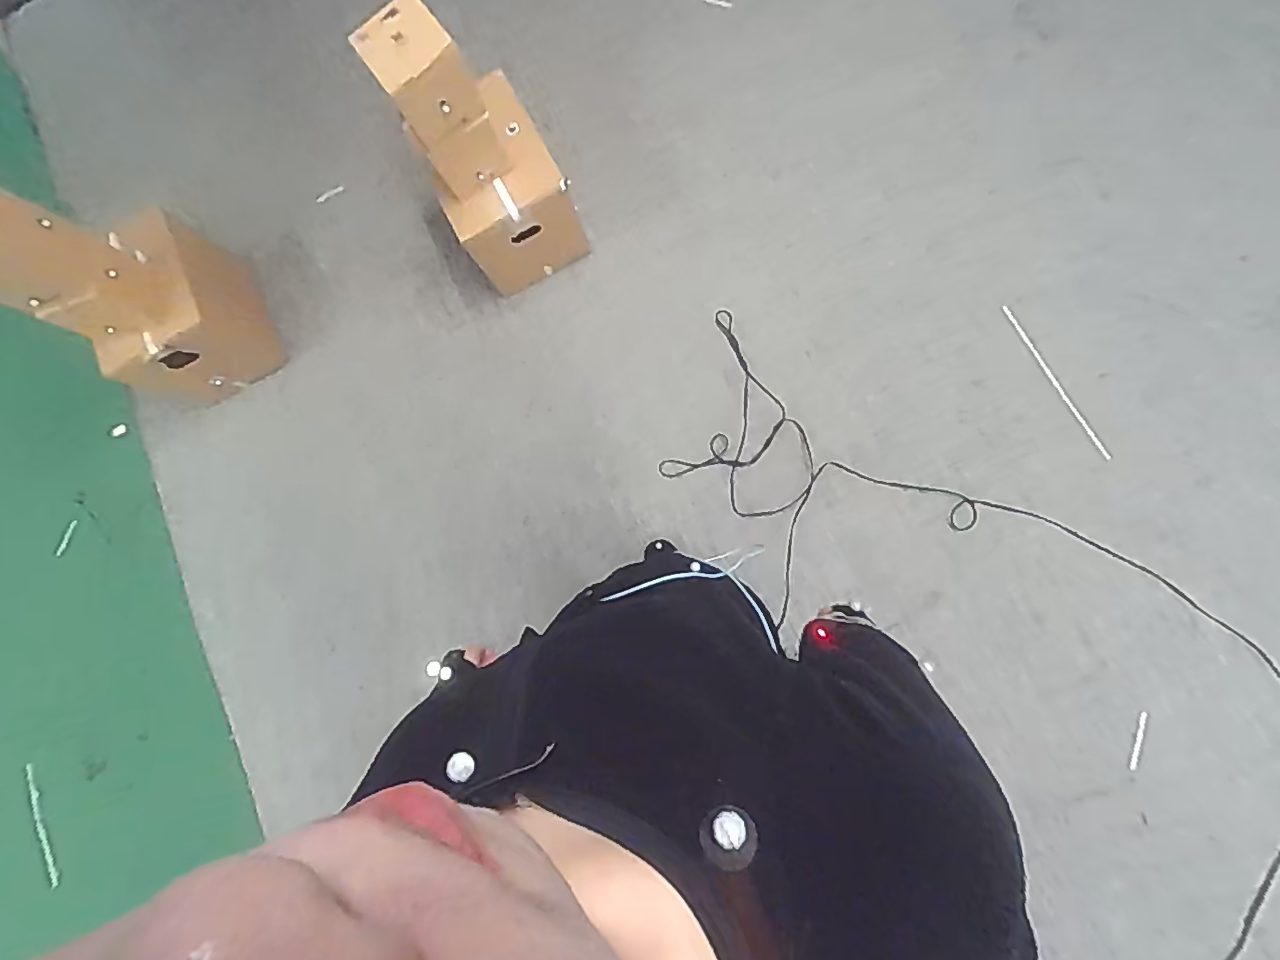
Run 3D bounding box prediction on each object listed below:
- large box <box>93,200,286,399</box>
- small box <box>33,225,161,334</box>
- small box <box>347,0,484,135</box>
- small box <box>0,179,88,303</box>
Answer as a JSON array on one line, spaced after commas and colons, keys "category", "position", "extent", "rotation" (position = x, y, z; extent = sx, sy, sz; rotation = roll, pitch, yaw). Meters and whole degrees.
[{"category": "large box", "position": [-1.360, -0.517, 1.616], "extent": [0.320, 0.320, 0.408], "rotation": [-28, 79, 3]}, {"category": "small box", "position": [-1.372, -0.500, 1.369], "extent": [0.168, 0.176, 0.179], "rotation": [-17, 81, 5]}, {"category": "small box", "position": [-0.461, -0.874, 1.140], "extent": [0.168, 0.176, 0.179], "rotation": [-36, 81, 3]}, {"category": "small box", "position": [-1.401, -0.526, 1.210], "extent": [0.168, 0.176, 0.179], "rotation": [-14, 82, 6]}]
